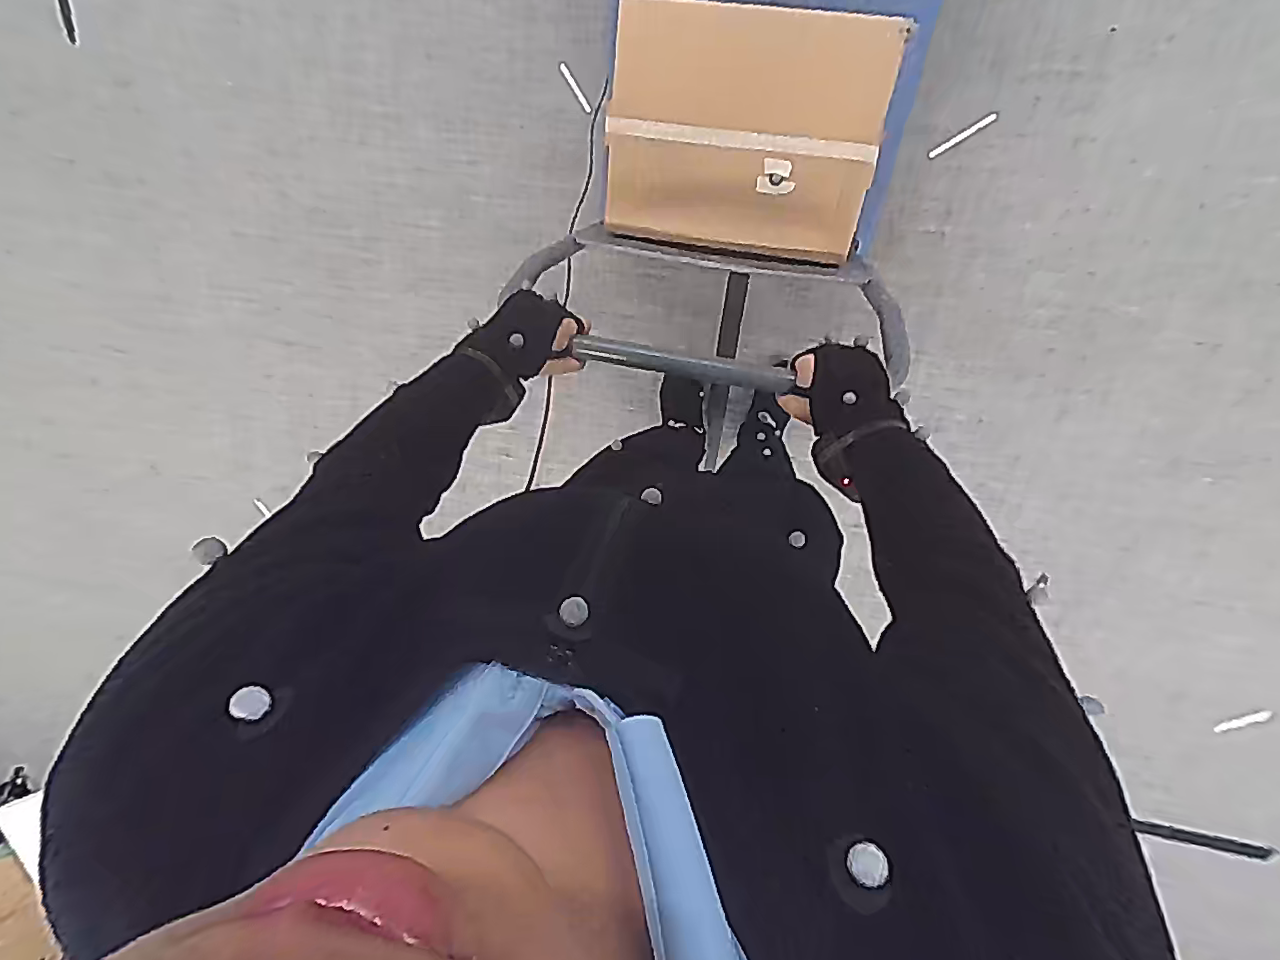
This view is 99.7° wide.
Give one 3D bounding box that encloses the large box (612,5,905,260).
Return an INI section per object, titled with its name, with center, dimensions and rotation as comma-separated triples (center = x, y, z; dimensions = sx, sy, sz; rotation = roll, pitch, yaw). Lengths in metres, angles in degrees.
[large box]
center = 0.182, -0.593, 0.963
dimensions = 0.408, 0.320, 0.320
rotation = 10, 120, 6
